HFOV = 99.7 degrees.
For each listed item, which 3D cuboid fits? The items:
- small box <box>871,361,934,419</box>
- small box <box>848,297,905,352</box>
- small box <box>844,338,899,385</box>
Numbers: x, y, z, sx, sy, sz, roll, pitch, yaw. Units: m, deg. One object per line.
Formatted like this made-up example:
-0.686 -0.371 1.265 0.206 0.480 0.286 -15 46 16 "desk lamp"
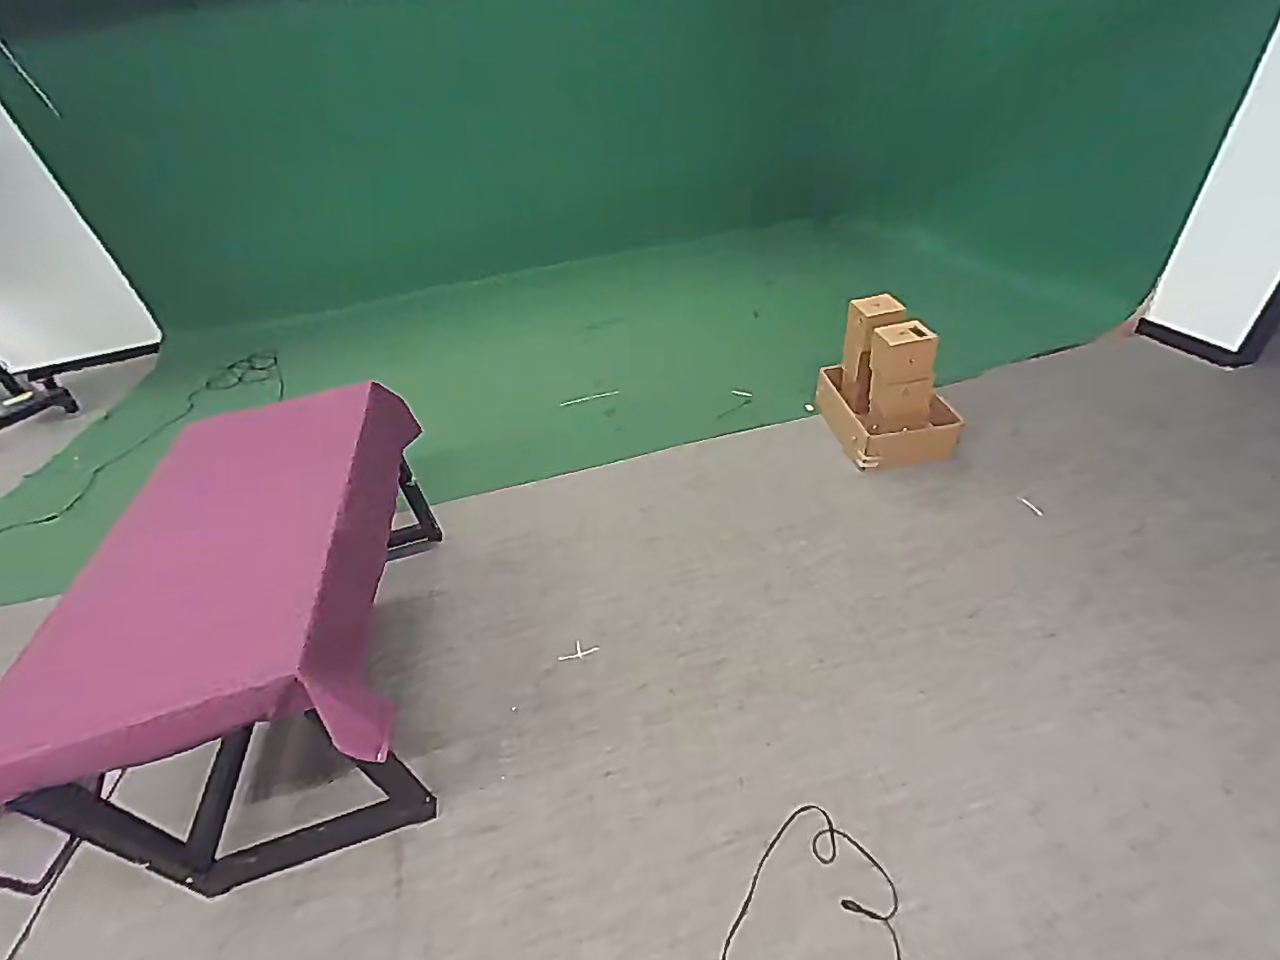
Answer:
1.067 -0.365 2.217 0.179 0.176 0.168 -9 38 0 "small box"
1.019 -0.668 2.345 0.168 0.176 0.179 -10 39 1 "small box"
1.046 -0.552 2.460 0.179 0.176 0.168 -10 39 2 "small box"
